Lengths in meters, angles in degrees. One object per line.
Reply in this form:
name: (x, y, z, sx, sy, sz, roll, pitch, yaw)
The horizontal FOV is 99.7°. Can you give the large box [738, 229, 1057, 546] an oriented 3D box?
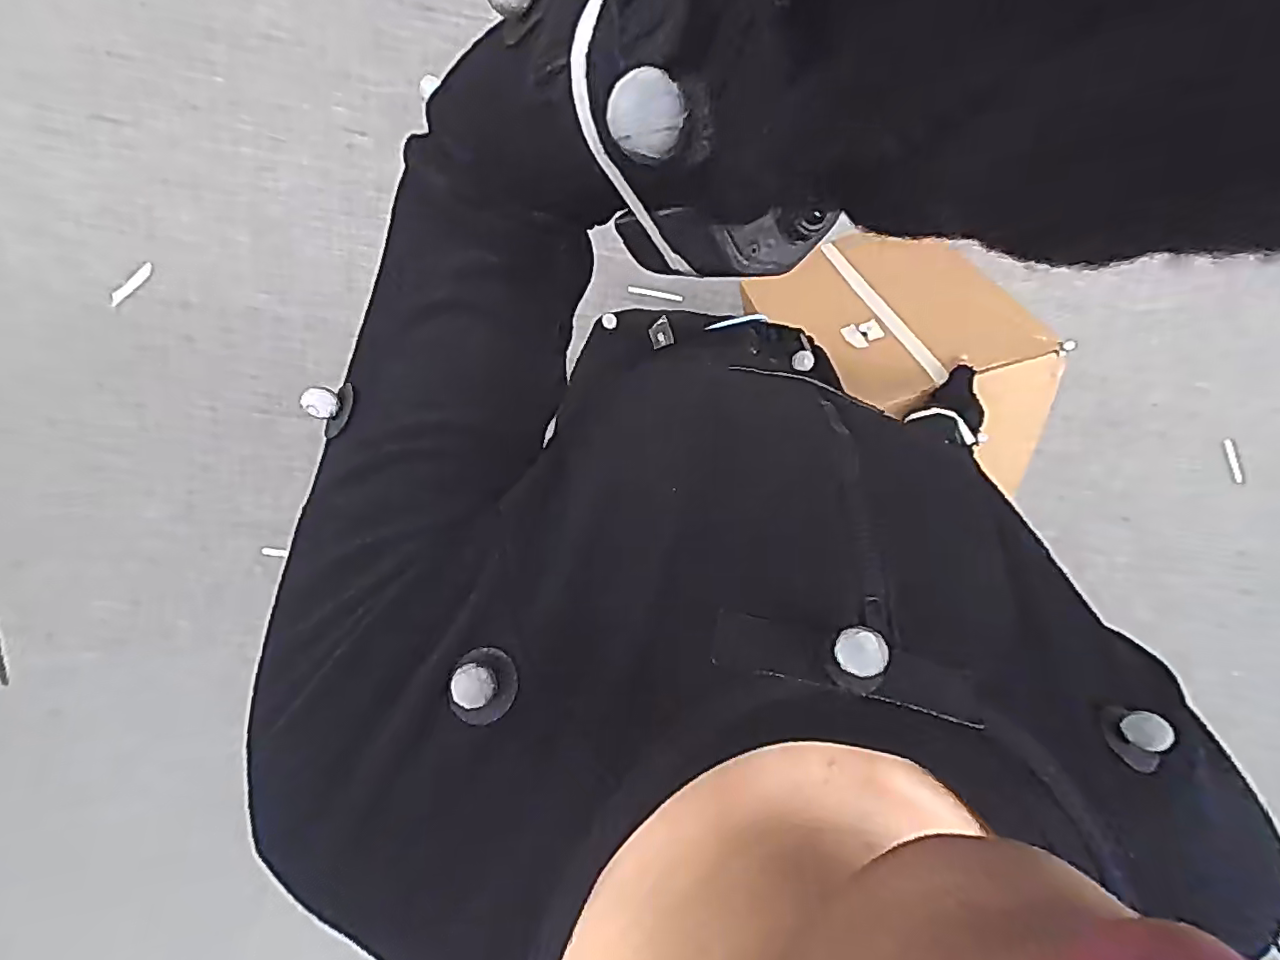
large box: (0.385, -0.159, 0.932, 0.320, 0.408, 0.320, -16, 138, 6)
